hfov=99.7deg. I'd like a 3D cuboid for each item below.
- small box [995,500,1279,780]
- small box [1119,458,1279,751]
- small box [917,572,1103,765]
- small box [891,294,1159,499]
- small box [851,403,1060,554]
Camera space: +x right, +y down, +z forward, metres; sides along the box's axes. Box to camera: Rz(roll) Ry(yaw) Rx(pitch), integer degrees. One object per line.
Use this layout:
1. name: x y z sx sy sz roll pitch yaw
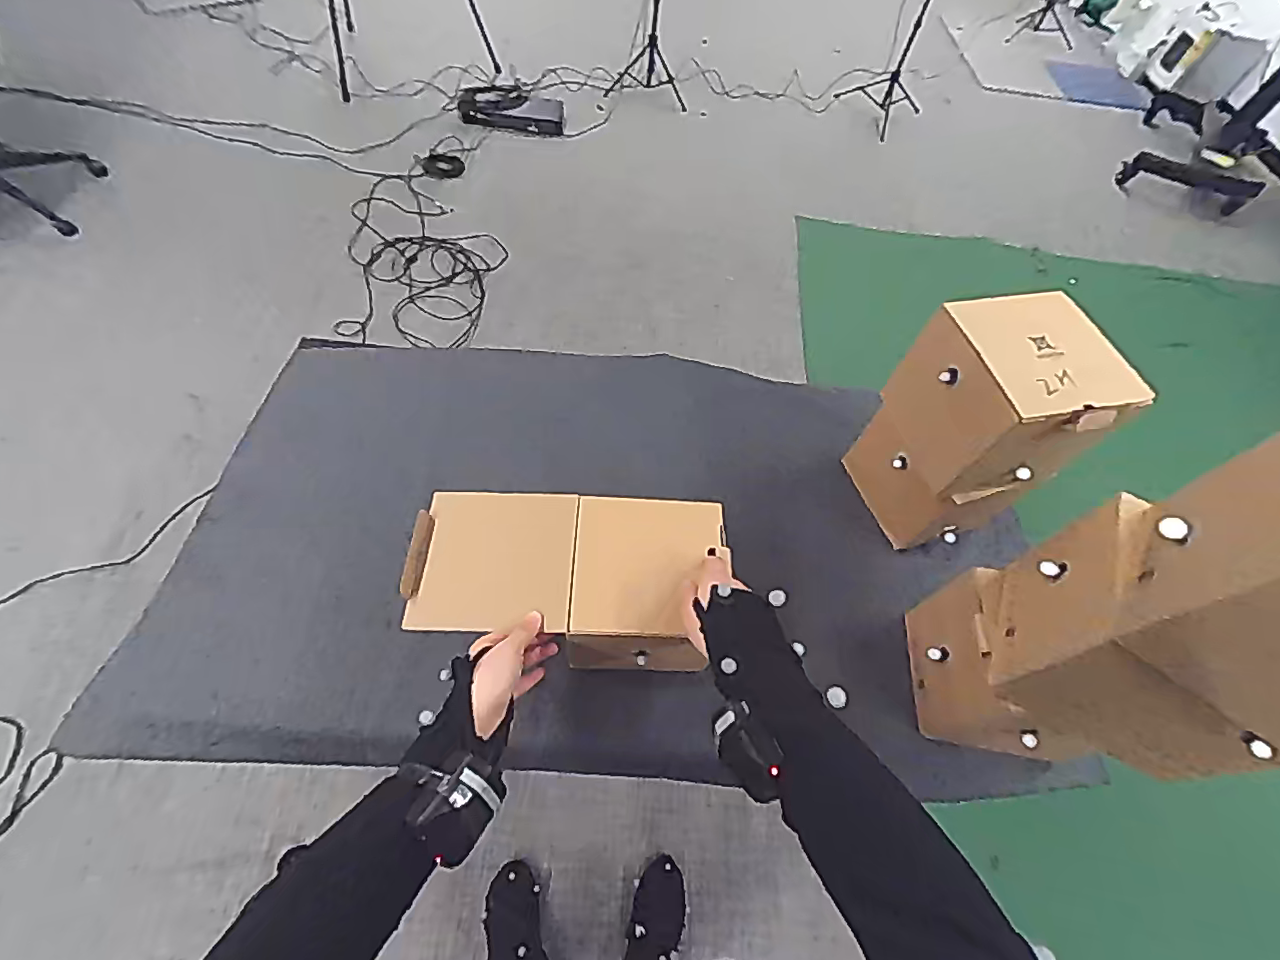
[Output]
1. small box: 0.477 0.157 0.509 0.179 0.176 0.168 29 57 12
2. small box: 0.489 0.084 0.360 0.179 0.176 0.168 37 59 18
3. small box: 0.460 0.233 0.653 0.179 0.176 0.168 10 56 1
4. small box: 0.444 -0.099 0.664 0.168 0.176 0.179 -9 61 -8
5. small box: 0.449 -0.014 0.806 0.168 0.176 0.179 -14 63 -12
